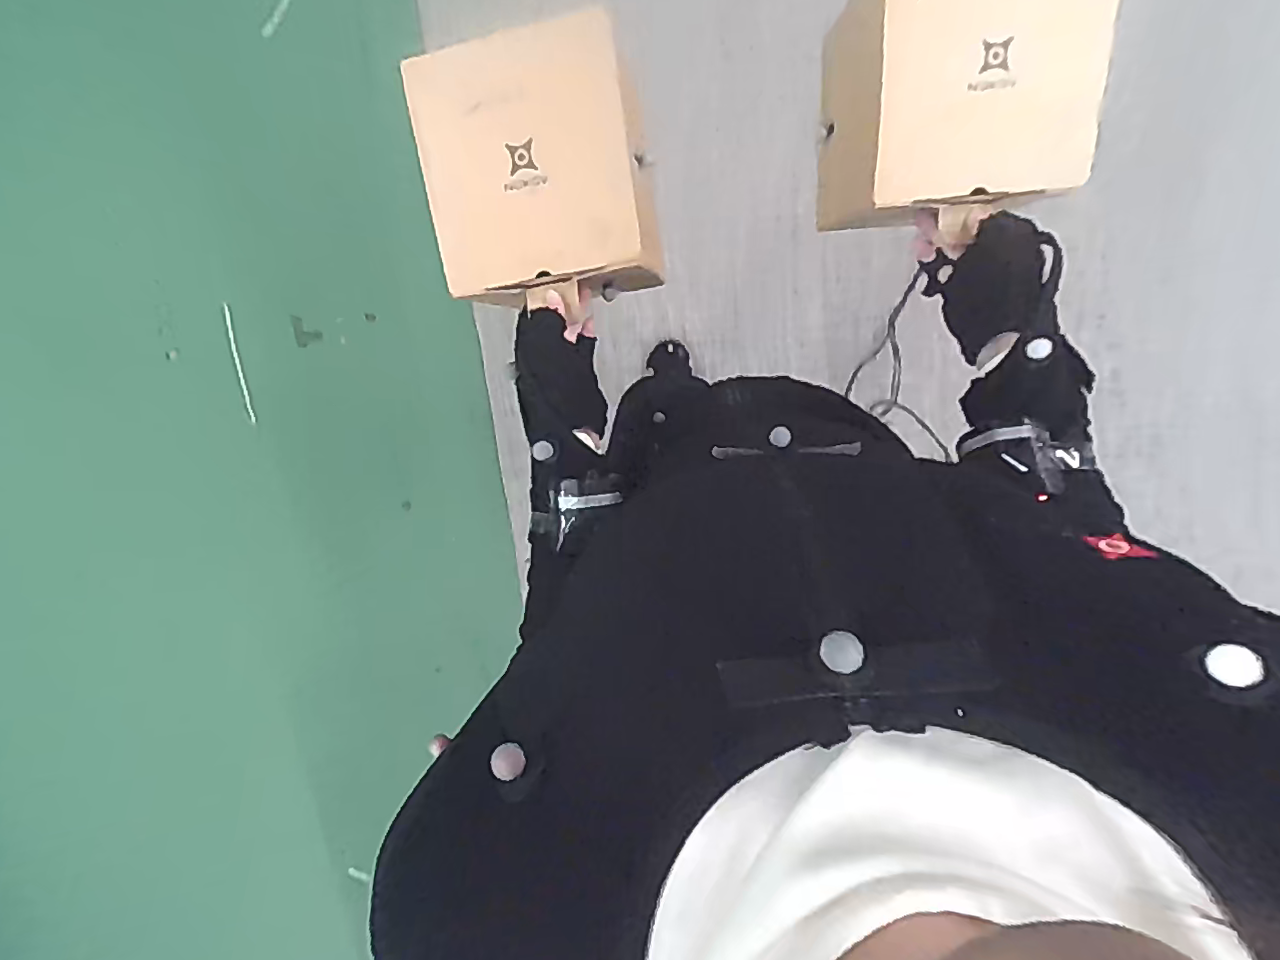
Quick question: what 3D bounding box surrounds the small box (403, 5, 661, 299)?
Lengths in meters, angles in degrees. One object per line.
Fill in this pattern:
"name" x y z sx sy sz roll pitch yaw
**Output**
"small box" -0.080 -0.271 0.500 0.168 0.176 0.179 -7 102 11
